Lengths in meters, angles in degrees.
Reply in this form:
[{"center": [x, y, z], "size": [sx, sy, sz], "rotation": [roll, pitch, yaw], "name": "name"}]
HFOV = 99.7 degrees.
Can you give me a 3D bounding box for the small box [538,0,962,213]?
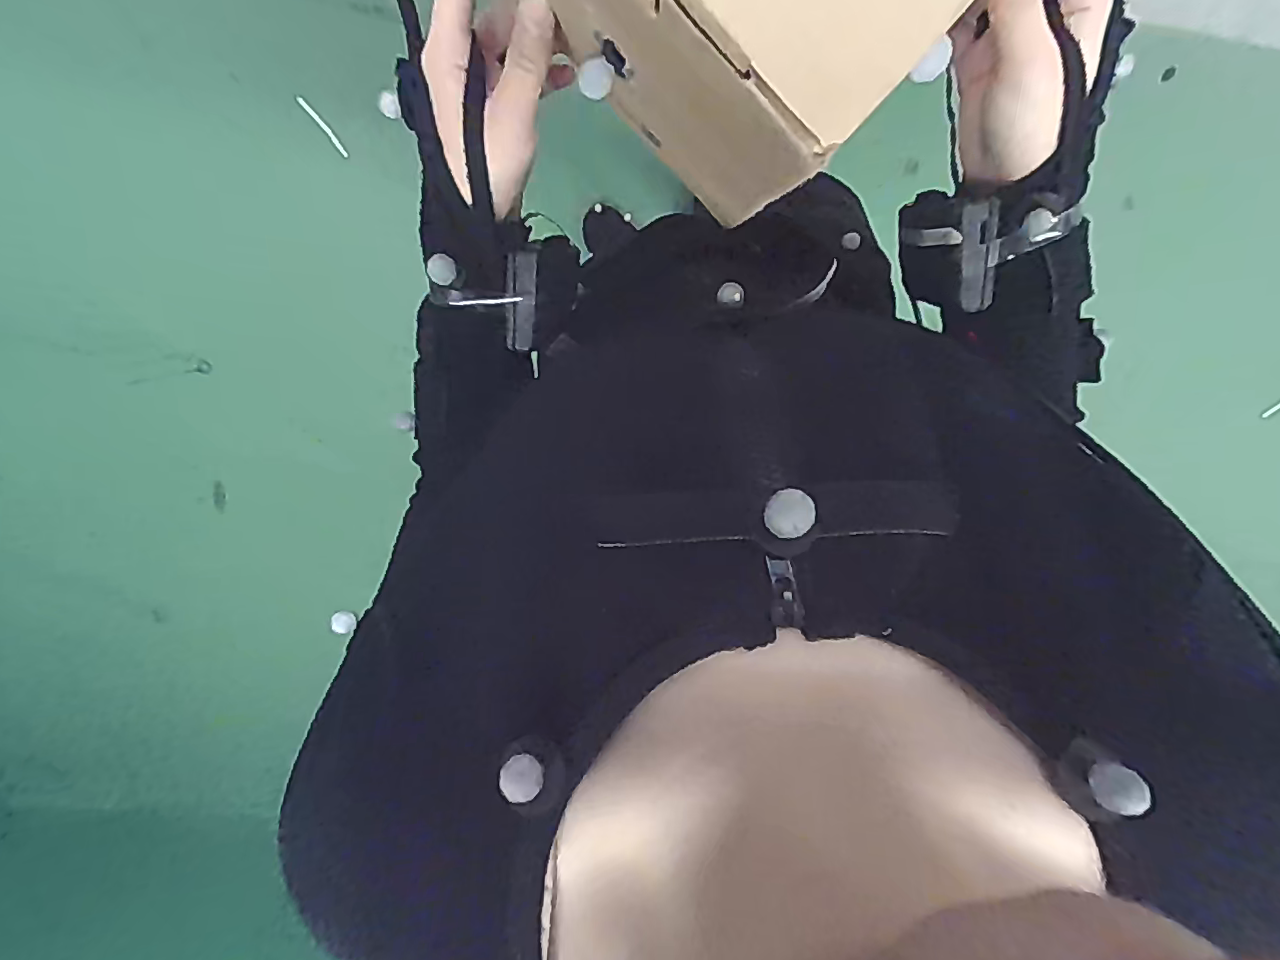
[{"center": [0.050, -0.222, 0.185], "size": [0.168, 0.176, 0.179], "rotation": [42, 106, -12], "name": "small box"}]
